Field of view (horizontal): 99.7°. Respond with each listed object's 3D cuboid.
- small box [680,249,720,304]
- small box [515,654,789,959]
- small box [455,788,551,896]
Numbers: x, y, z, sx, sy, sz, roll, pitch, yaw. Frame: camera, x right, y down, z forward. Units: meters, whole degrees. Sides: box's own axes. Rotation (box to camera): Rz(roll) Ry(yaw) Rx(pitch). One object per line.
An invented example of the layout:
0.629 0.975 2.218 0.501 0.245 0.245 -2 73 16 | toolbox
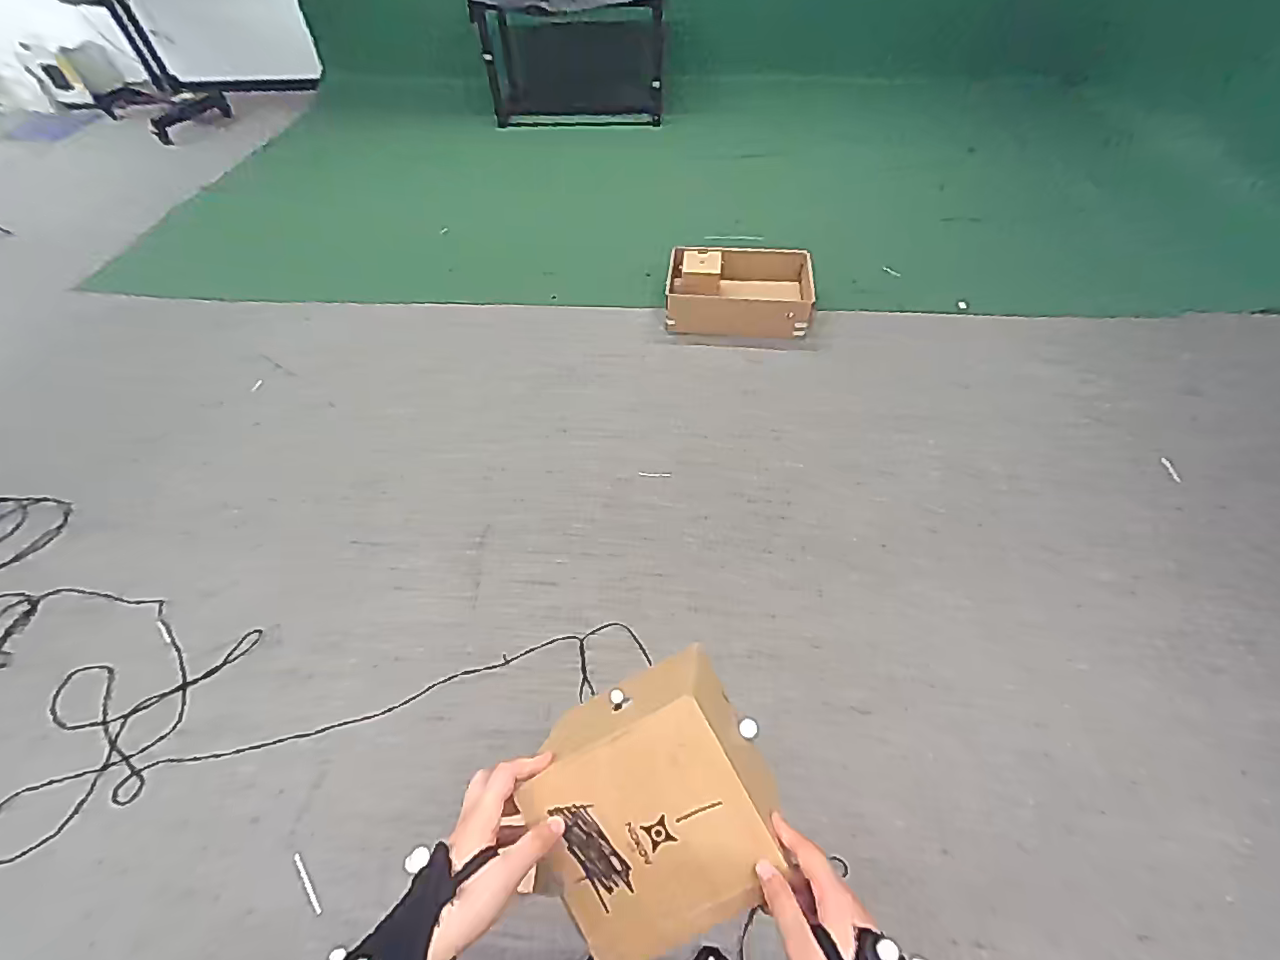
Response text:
0.268 -0.905 2.412 0.168 0.176 0.179 4 53 5 | small box
0.016 0.296 0.518 0.179 0.176 0.168 -30 85 4 | small box
-0.279 0.787 1.174 0.168 0.176 0.179 0 51 3 | small box
